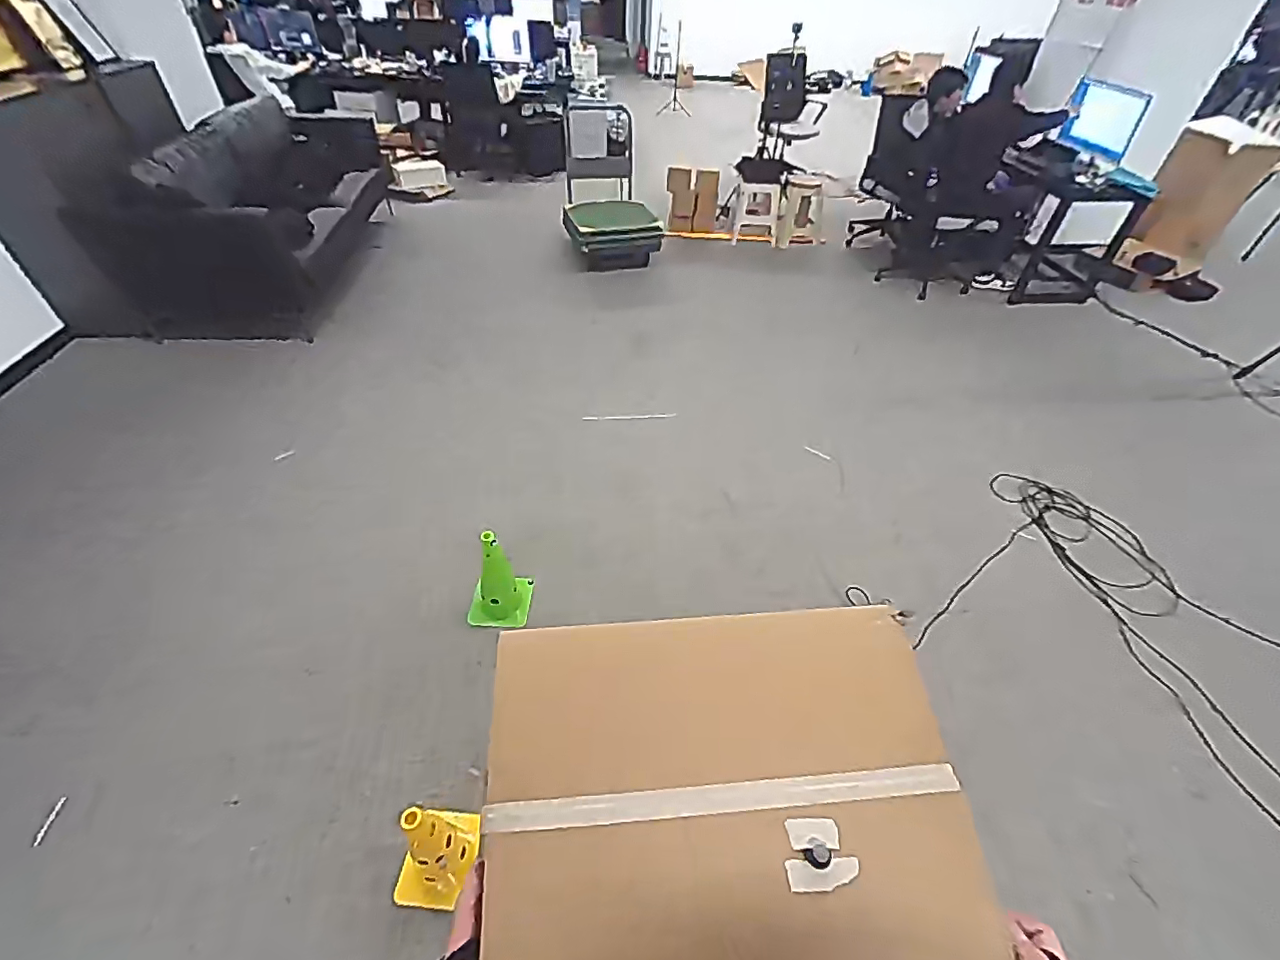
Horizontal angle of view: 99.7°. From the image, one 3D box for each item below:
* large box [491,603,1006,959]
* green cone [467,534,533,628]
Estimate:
[{"bbox_3d":[0.069,0.350,0.601,0.408,0.320,0.320,-3,59,-4],"label":"large box"},{"bbox_3d":[-0.479,0.302,1.768,0.200,0.368,0.202,2,45,0],"label":"green cone"}]
